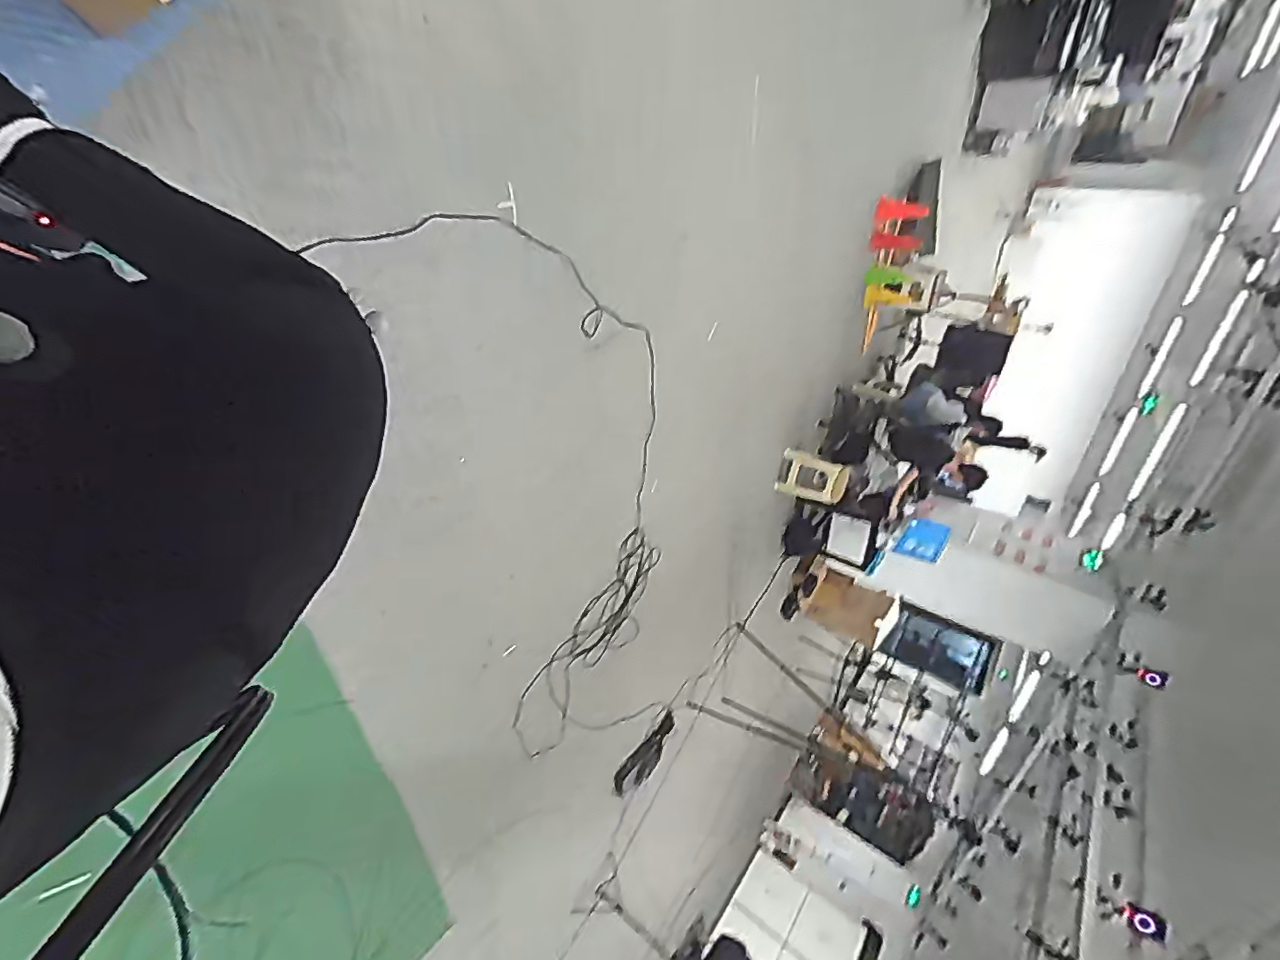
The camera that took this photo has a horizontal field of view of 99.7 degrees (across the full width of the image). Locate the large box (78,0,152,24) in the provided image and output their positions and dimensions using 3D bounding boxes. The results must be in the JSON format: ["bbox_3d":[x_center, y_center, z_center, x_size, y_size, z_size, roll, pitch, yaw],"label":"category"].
[{"bbox_3d":[-0.715,-0.855,0.613,0.320,0.320,0.408,-61,145,-11],"label":"large box"}]
